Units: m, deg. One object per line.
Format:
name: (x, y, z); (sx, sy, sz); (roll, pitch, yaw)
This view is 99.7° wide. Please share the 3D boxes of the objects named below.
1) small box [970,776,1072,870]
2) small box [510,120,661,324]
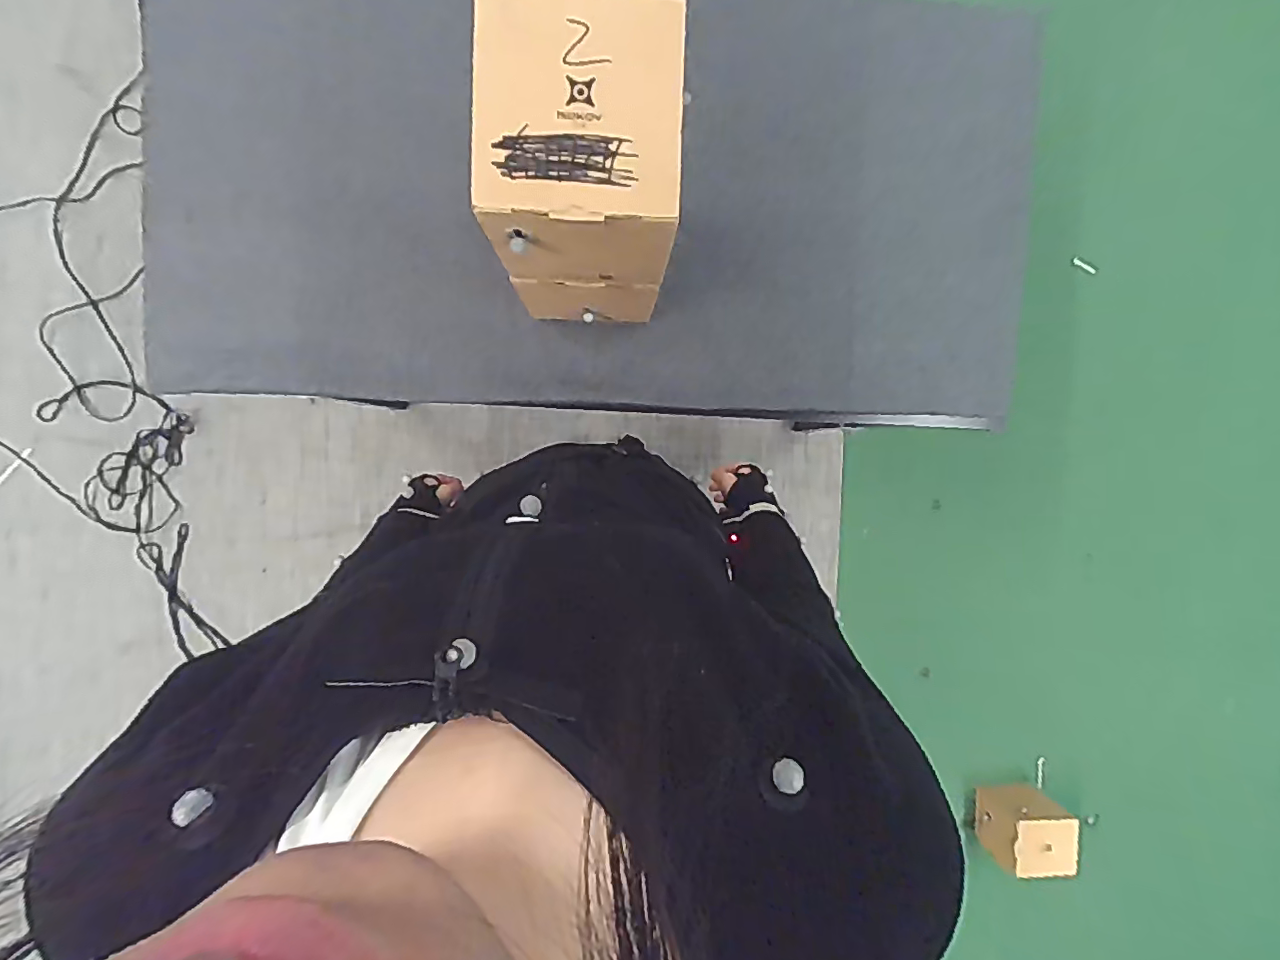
small box: (1.102, 0.990, 1.574); (0.179, 0.176, 0.168); (-1, 94, -3)
small box: (-0.065, -0.305, 0.674); (0.168, 0.176, 0.179); (1, 93, -4)
